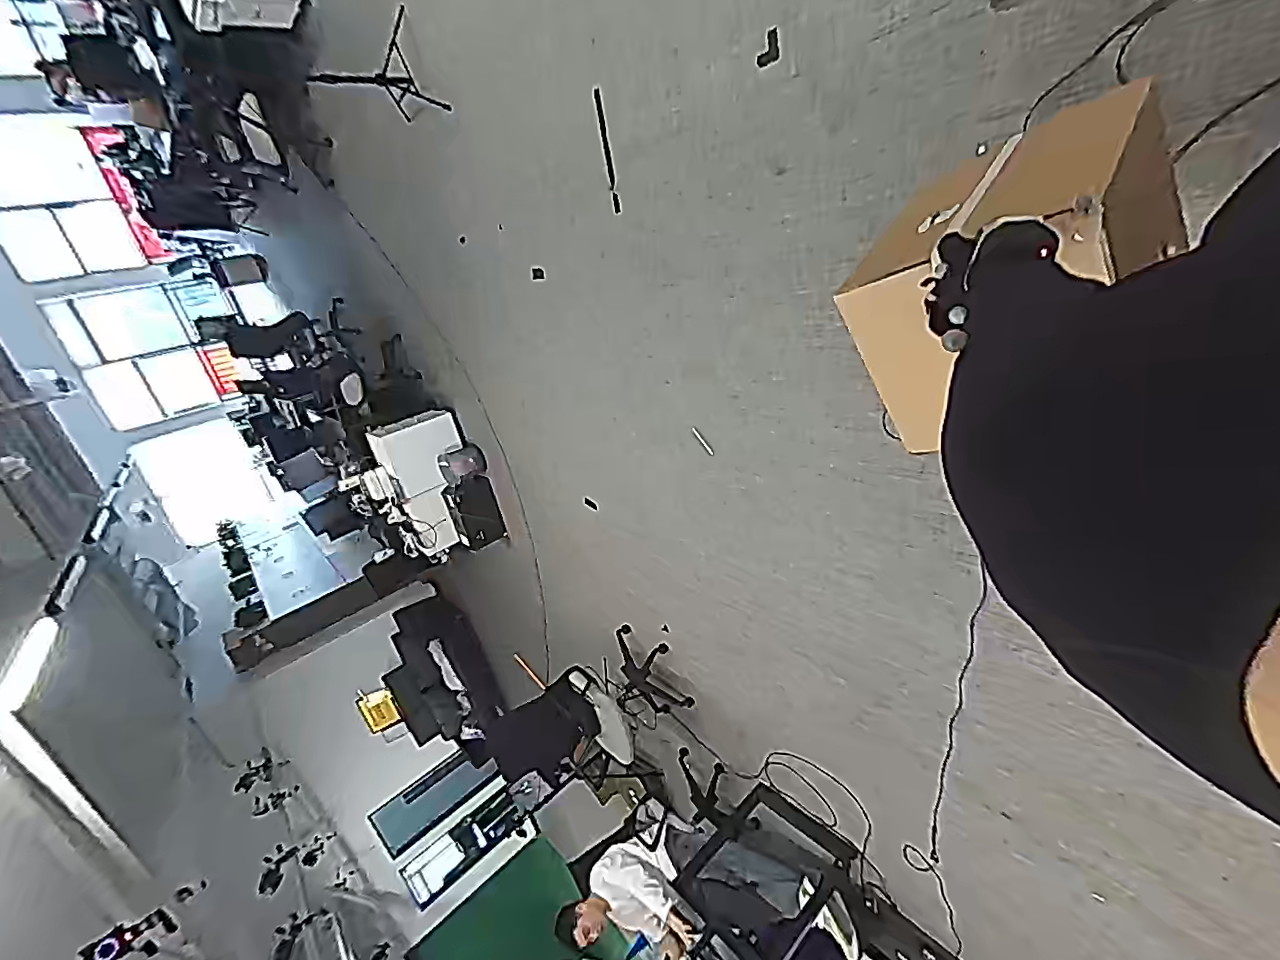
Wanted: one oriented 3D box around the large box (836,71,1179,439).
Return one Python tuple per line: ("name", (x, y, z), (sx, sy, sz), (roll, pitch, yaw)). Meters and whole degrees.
("large box", (0.576, -0.316, 0.832), (0.320, 0.408, 0.320), (51, 152, -22))
